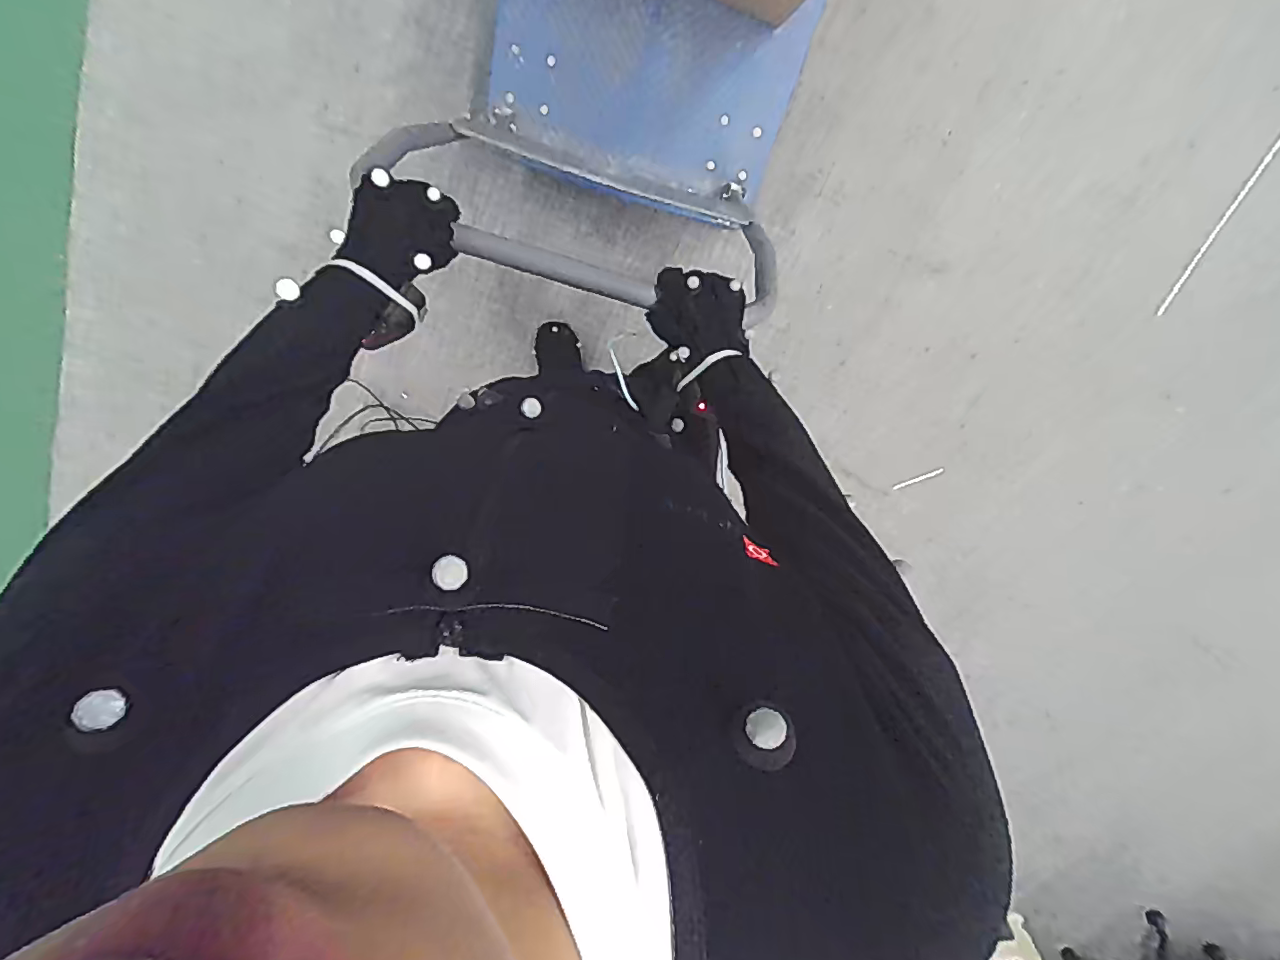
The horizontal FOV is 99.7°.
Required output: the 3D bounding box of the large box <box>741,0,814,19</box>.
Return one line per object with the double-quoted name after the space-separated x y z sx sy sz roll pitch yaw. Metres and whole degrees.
0.127 -0.927 0.757 0.408 0.320 0.320 19 122 -6 "large box"
